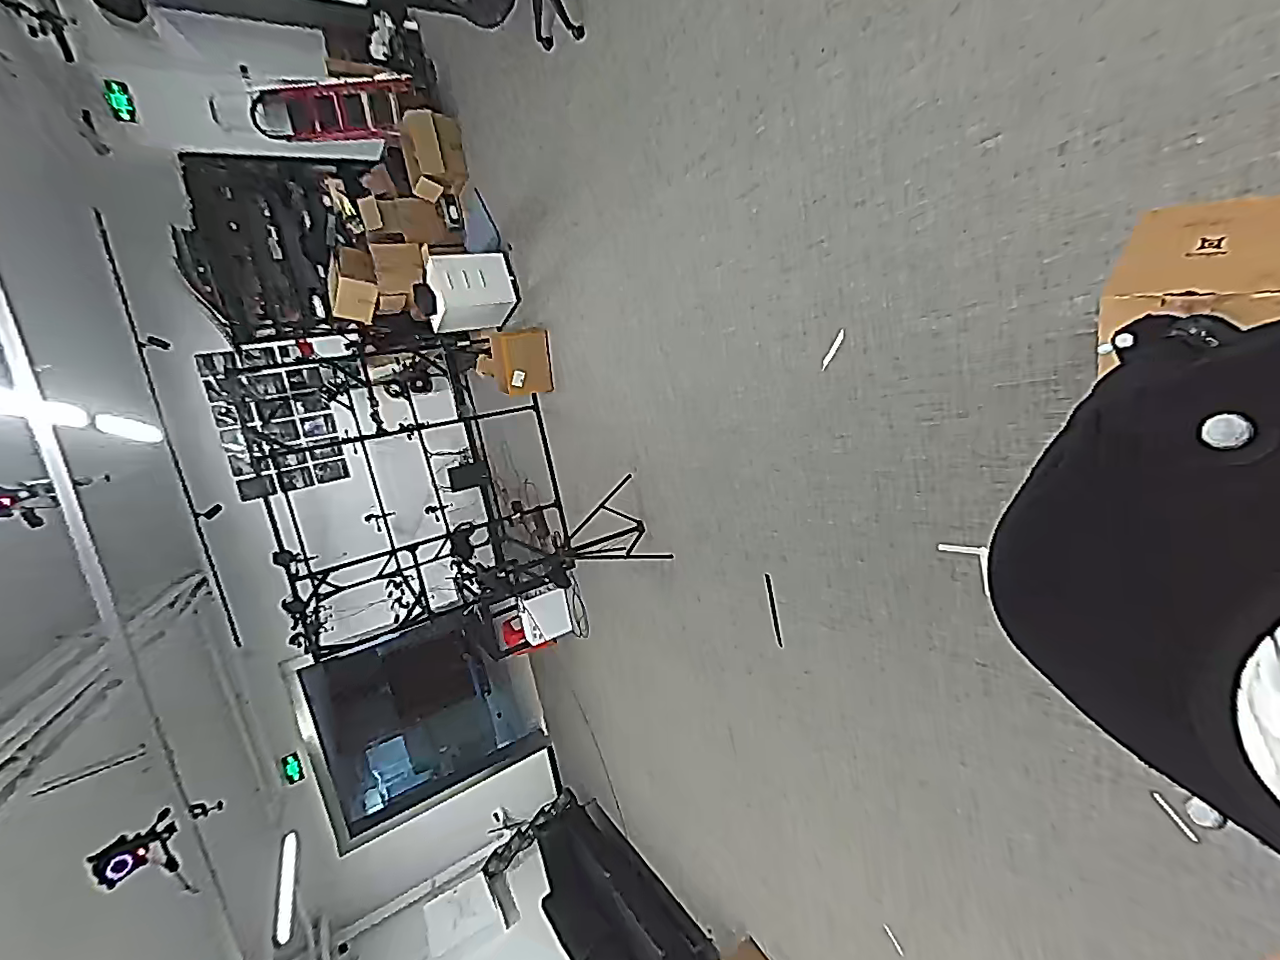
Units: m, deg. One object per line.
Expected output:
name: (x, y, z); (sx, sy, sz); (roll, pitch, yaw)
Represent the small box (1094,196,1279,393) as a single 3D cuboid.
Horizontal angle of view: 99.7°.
small box: (0.726, -0.234, 0.705); (0.168, 0.179, 0.176); (20, 157, 47)
